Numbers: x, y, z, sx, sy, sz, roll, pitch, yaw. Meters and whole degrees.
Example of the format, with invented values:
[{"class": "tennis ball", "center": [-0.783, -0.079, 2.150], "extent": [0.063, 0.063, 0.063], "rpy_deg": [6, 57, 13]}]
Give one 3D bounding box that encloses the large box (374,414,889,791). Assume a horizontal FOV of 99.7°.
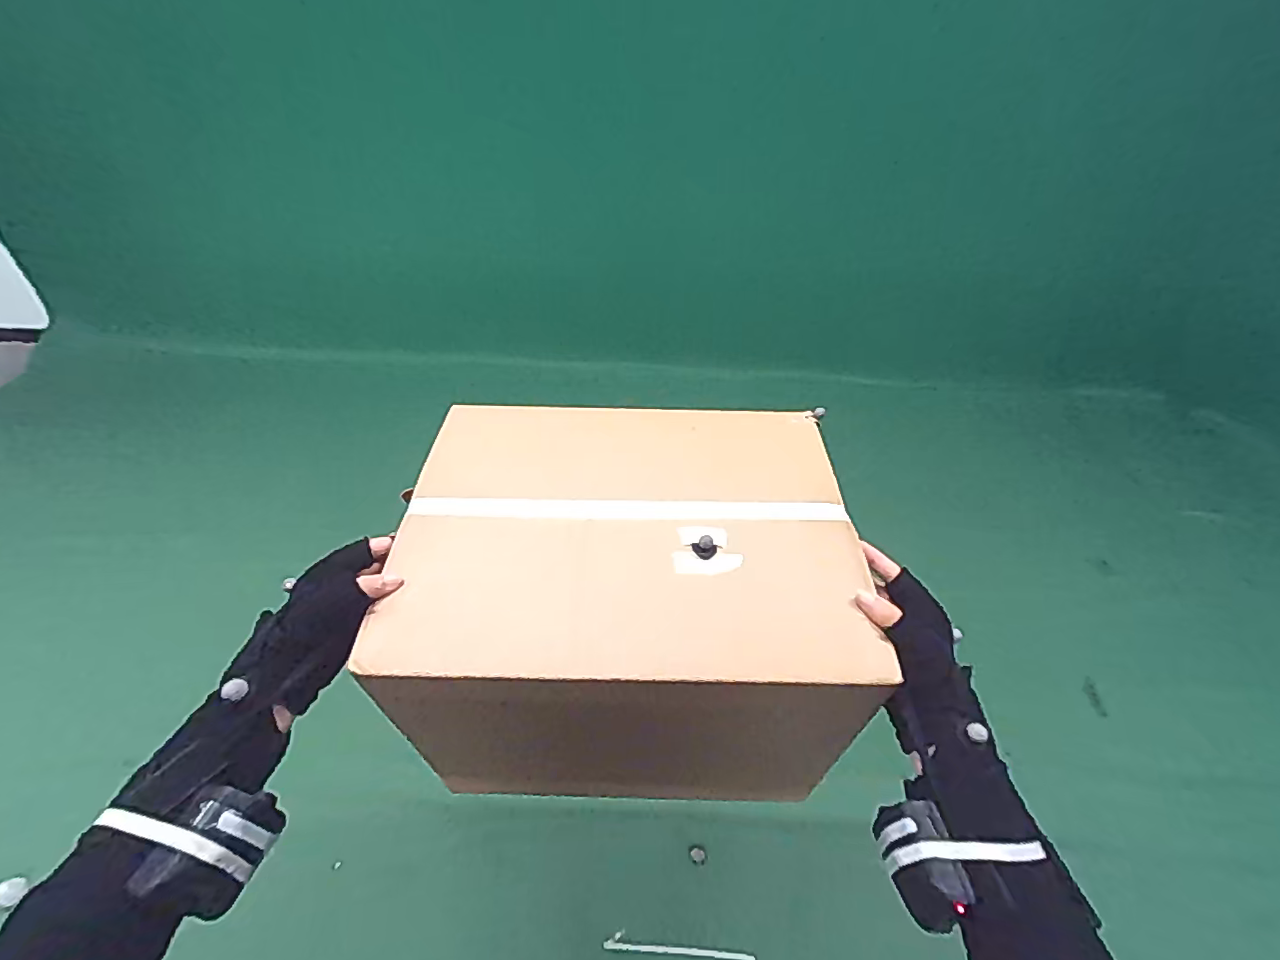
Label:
[{"class": "large box", "center": [-0.011, 0.140, 0.619], "extent": [0.408, 0.320, 0.320], "rpy_deg": [1, 46, -1]}]
